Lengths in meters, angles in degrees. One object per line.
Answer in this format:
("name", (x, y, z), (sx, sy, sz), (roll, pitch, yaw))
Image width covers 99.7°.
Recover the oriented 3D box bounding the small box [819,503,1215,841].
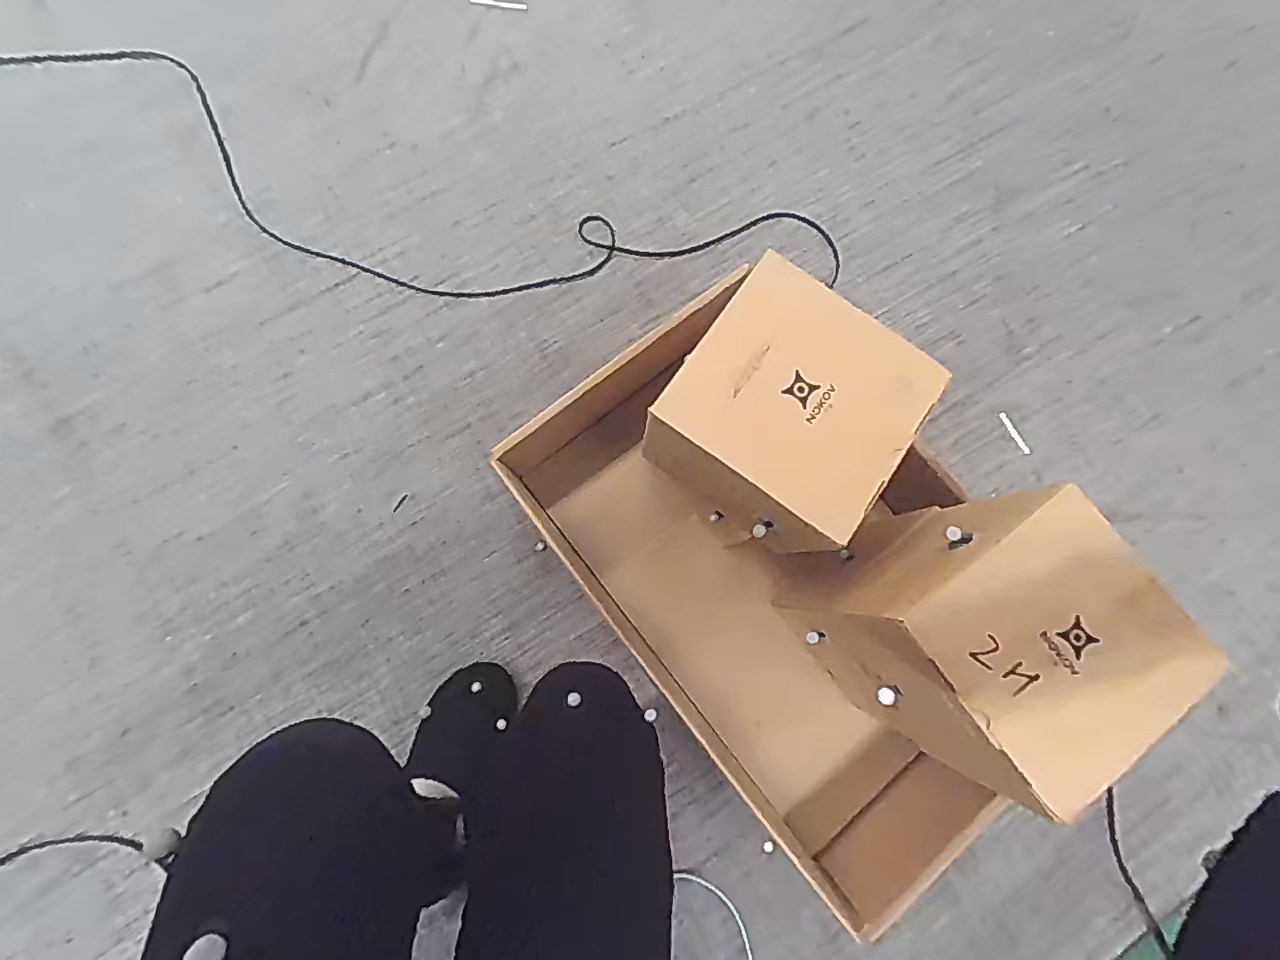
("small box", (0.288, 0.142, 0.458), (0.179, 0.176, 0.168), (-35, 82, -8))
